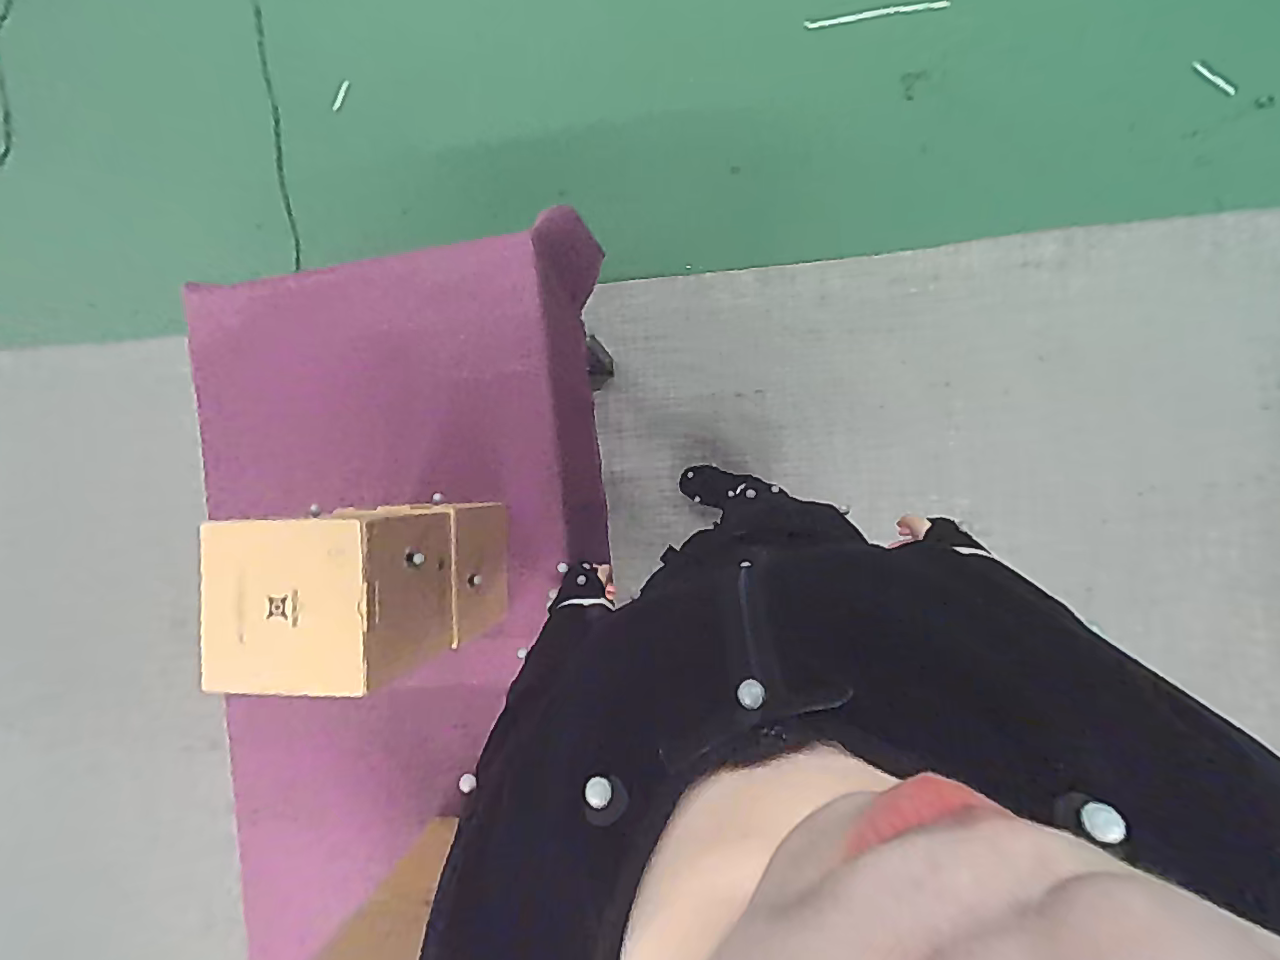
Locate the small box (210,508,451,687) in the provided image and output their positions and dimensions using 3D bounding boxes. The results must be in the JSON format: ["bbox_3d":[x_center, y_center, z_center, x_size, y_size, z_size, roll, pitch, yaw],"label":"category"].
[{"bbox_3d":[-0.325,0.116,0.600,0.179,0.176,0.168,-2,89,10],"label":"small box"}]

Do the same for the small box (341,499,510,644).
[{"bbox_3d":[-0.291,0.118,0.760,0.168,0.176,0.179,-1,89,8],"label":"small box"}]
